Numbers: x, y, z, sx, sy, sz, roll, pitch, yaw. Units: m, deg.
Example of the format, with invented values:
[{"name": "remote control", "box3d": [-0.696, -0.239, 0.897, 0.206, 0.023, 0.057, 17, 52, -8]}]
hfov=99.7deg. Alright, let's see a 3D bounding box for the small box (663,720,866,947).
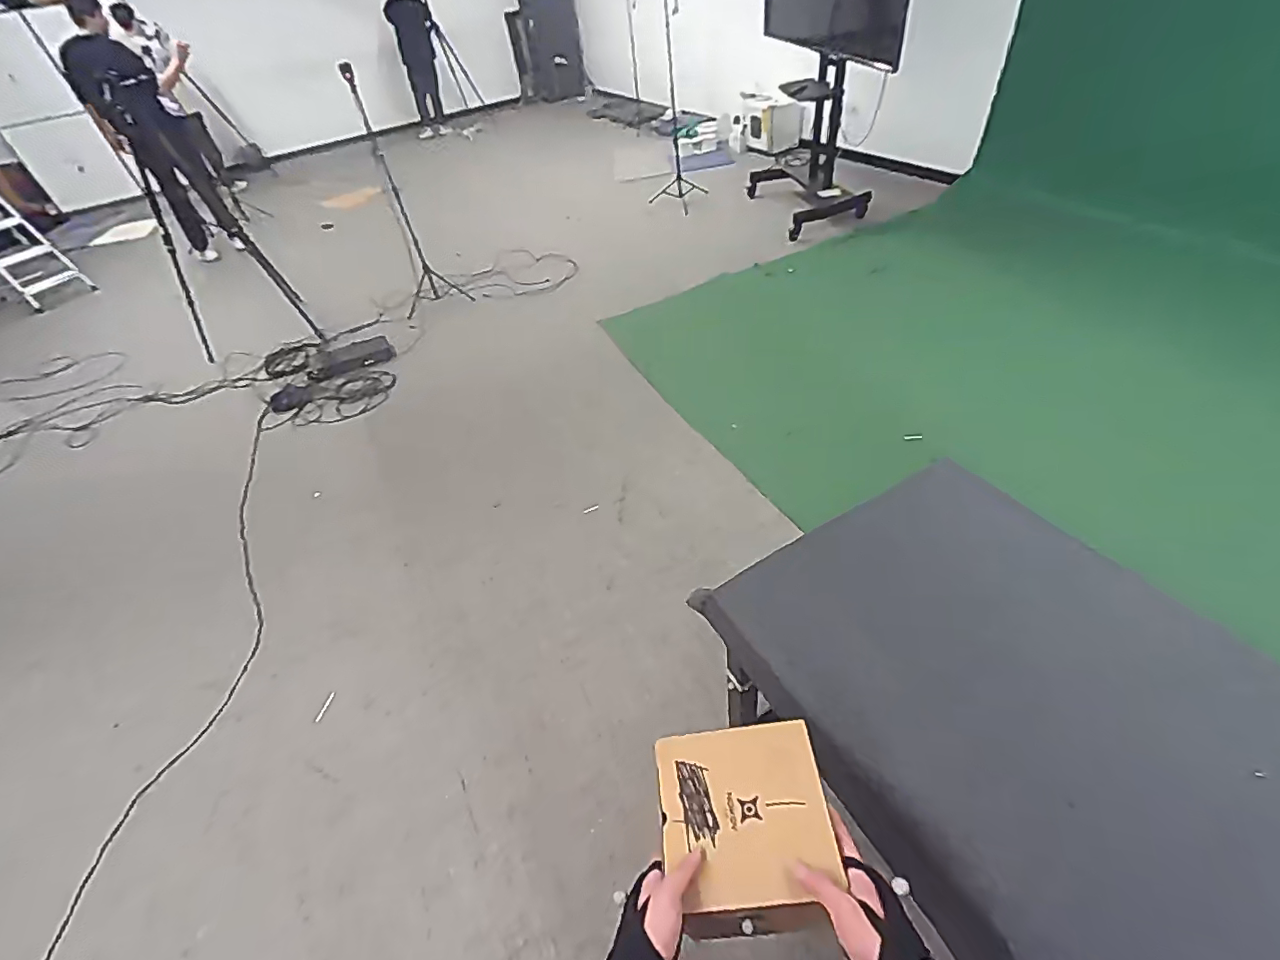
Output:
[{"name": "small box", "box3d": [0.127, 0.390, 0.595, 0.179, 0.176, 0.168, -9, 42, 4]}]
